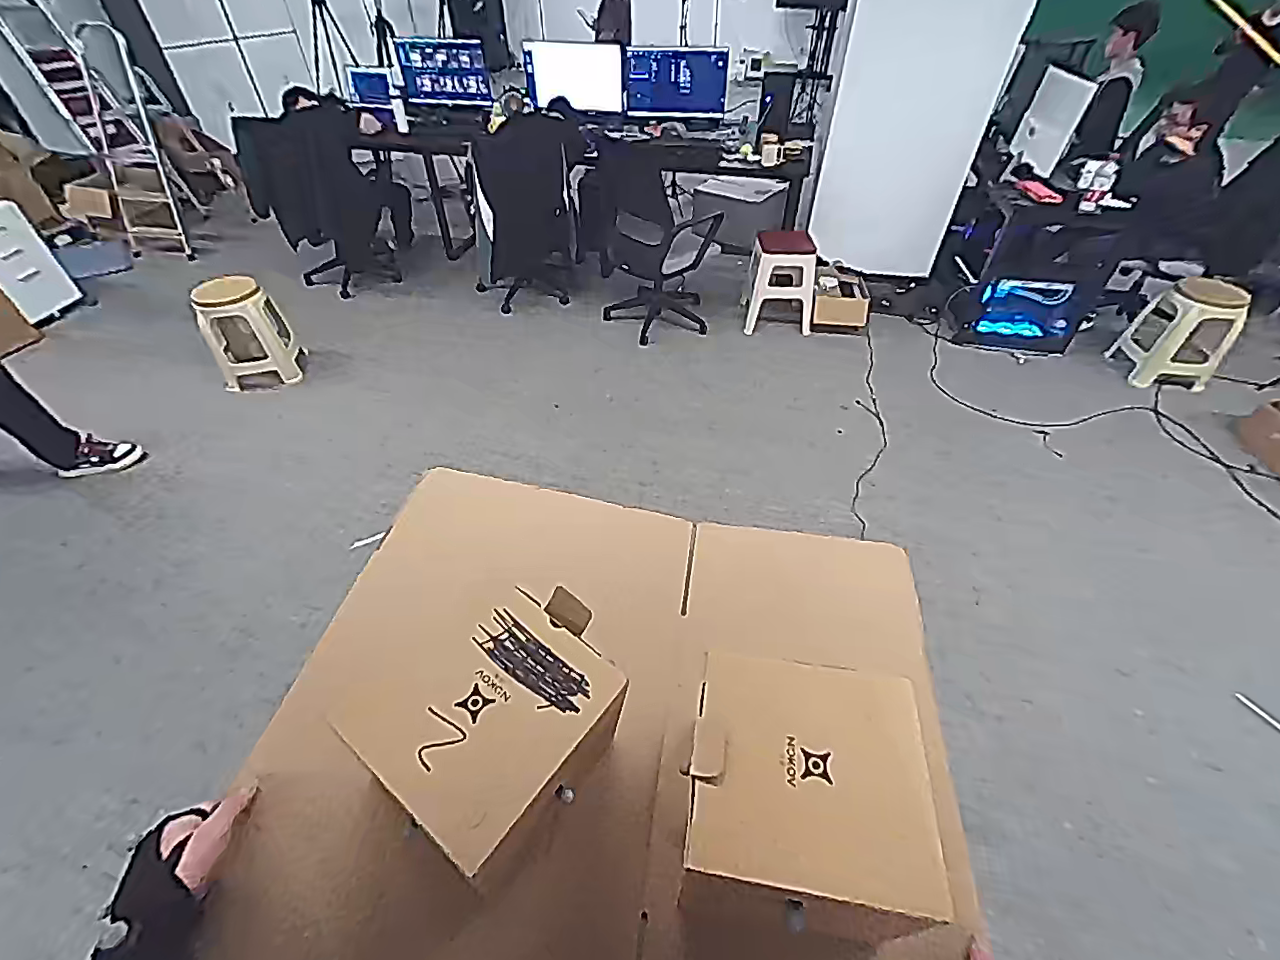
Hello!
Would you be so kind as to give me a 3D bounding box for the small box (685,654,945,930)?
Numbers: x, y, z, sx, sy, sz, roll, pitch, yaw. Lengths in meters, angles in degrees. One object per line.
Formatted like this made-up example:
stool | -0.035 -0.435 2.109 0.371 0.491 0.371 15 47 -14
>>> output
small box | 0.137 0.281 0.486 0.179 0.176 0.168 5 46 9
